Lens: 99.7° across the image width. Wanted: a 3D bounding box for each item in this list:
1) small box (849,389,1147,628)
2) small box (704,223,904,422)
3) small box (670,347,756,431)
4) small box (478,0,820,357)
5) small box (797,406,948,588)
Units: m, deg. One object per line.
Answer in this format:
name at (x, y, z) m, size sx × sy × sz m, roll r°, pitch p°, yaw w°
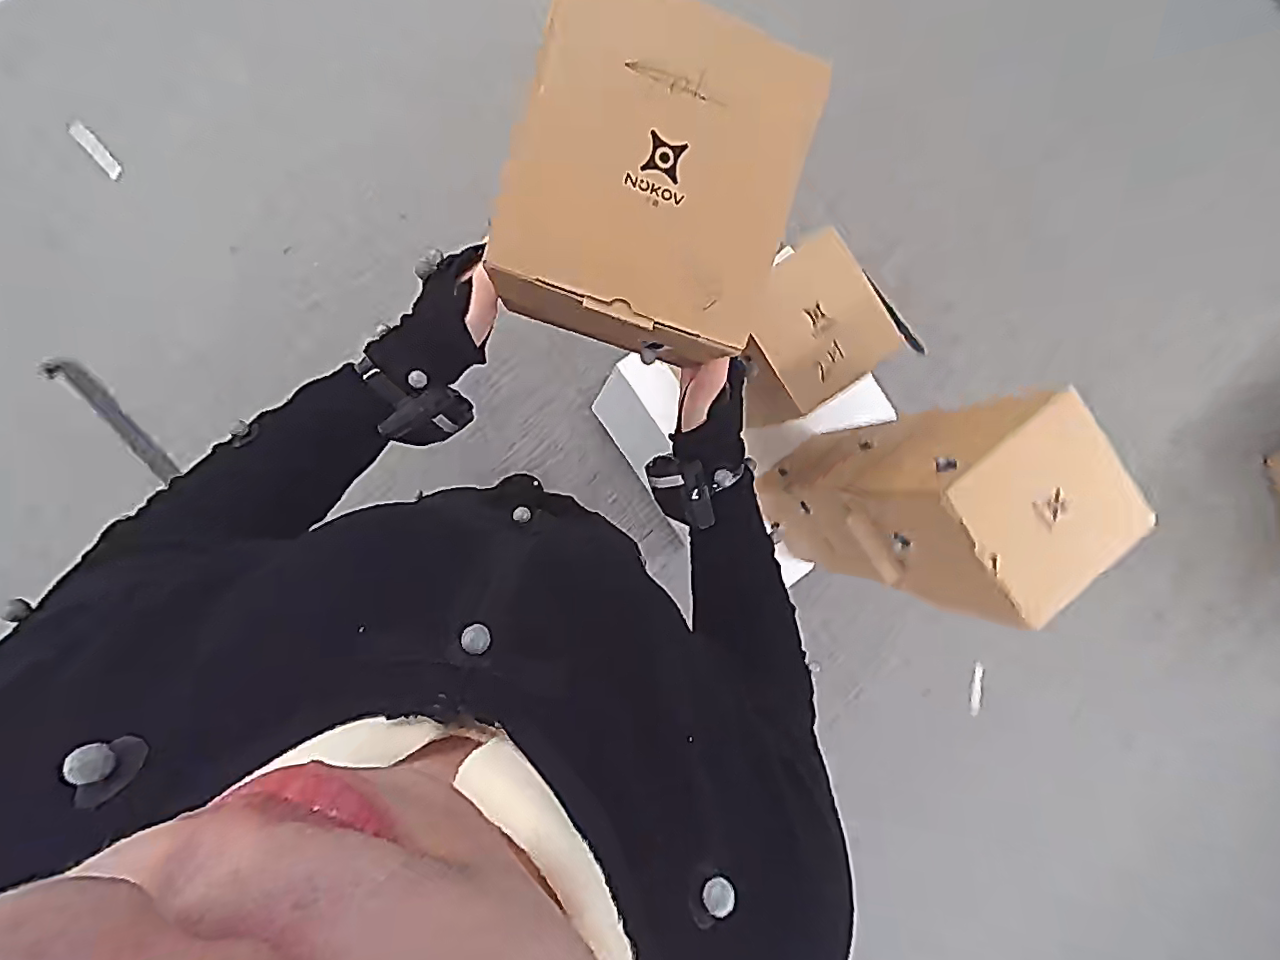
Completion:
small box at (0.371, 0.024, 0.589) m, size 0.179 × 0.176 × 0.168 m, roll -37°, pitch 96°, yaw -7°
small box at (0.198, -0.194, 0.722) m, size 0.168 × 0.176 × 0.179 m, roll -34°, pitch 96°, yaw -7°
small box at (0.174, -0.196, 0.885) m, size 0.179 × 0.176 × 0.168 m, roll -34°, pitch 95°, yaw -9°
small box at (-0.005, -0.197, 0.392) m, size 0.168 × 0.176 × 0.179 m, roll 15°, pitch 96°, yaw -12°
small box at (0.344, 0.022, 0.749) m, size 0.179 × 0.176 × 0.168 m, roll -36°, pitch 96°, yaw -8°
